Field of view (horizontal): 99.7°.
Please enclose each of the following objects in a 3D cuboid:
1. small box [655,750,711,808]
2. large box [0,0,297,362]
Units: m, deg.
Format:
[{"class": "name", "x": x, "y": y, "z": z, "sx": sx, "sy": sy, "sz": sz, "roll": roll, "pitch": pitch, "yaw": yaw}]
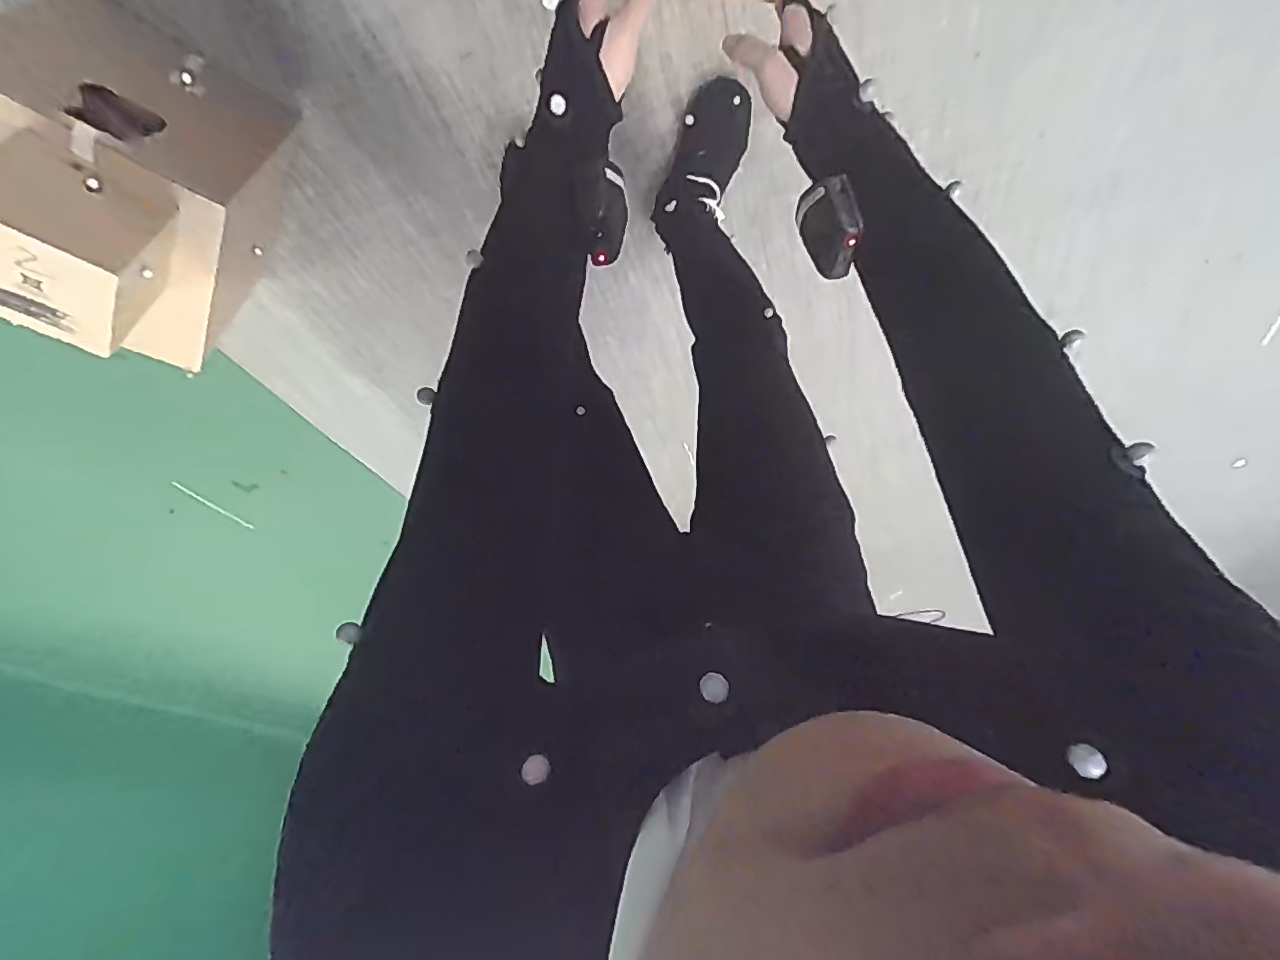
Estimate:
[{"class": "small box", "x": 0.156, "y": 1.091, "z": 1.977, "sx": 0.168, "sy": 0.176, "sz": 0.179, "roll": -12, "pitch": 143, "yaw": 15}, {"class": "large box", "x": -0.830, "y": -0.489, "z": 0.911, "sx": 0.320, "sy": 0.320, "sz": 0.408, "roll": 25, "pitch": 138, "yaw": -29}]
